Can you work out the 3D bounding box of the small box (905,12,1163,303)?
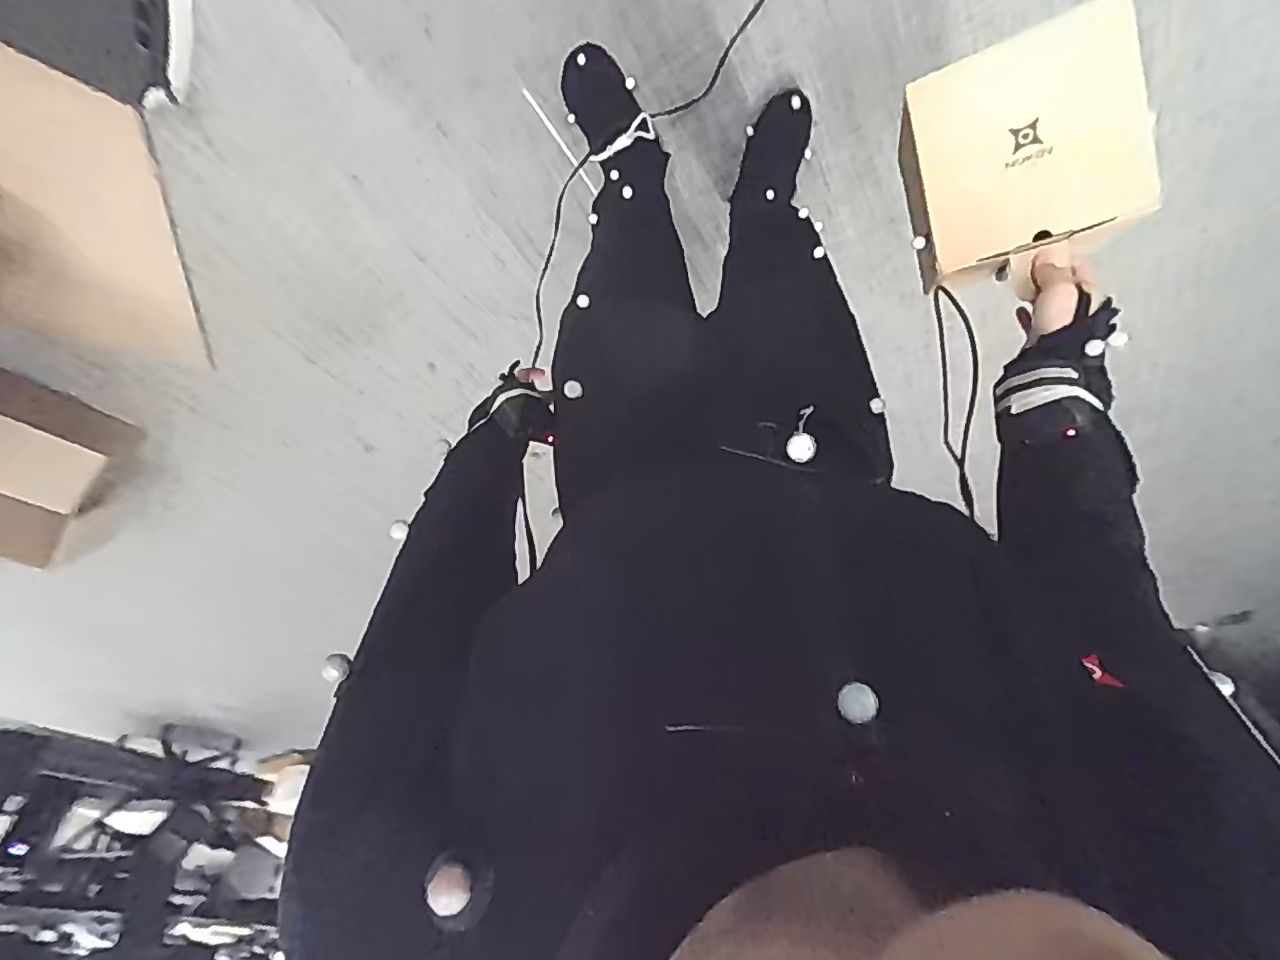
[{"bbox_3d":[0.378,-0.301,0.554,0.168,0.176,0.179,-11,94,24],"label":"small box"}]
